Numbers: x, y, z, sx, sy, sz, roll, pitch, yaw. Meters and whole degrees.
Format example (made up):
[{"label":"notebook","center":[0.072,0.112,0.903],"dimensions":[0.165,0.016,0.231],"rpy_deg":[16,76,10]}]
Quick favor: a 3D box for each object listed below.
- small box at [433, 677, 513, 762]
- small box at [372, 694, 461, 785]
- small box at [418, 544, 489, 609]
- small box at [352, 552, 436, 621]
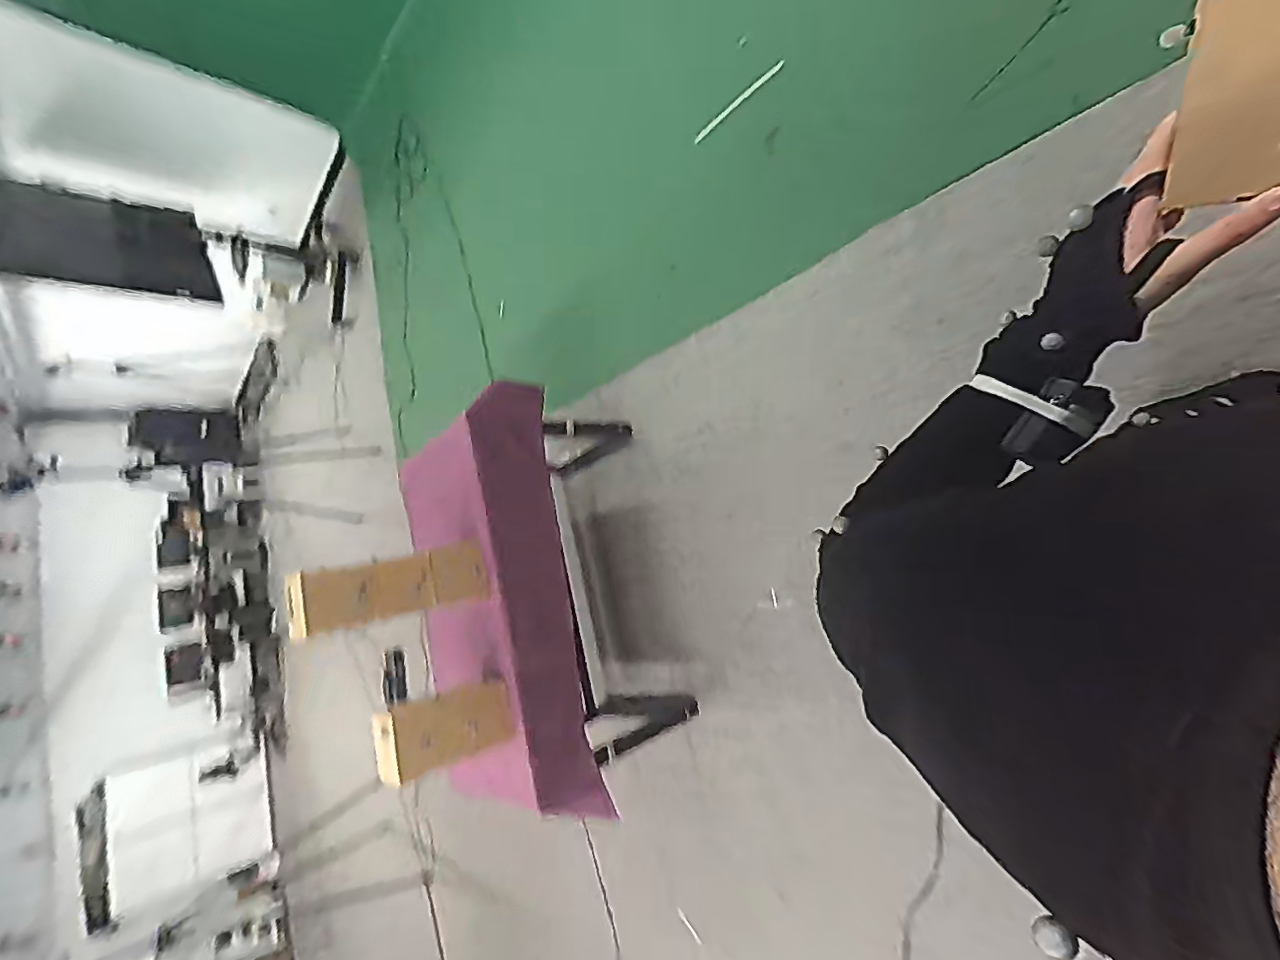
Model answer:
[{"label":"small box","center":[-0.493,0.701,1.601],"dimensions":[0.168,0.176,0.179],"rpy_deg":[-18,79,44]},{"label":"small box","center":[-0.613,0.704,1.489],"dimensions":[0.168,0.176,0.179],"rpy_deg":[-19,80,44]},{"label":"small box","center":[-0.588,0.297,1.673],"dimensions":[0.168,0.176,0.179],"rpy_deg":[-20,78,45]},{"label":"small box","center":[-0.712,0.309,1.567],"dimensions":[0.179,0.176,0.168],"rpy_deg":[-19,80,44]}]
